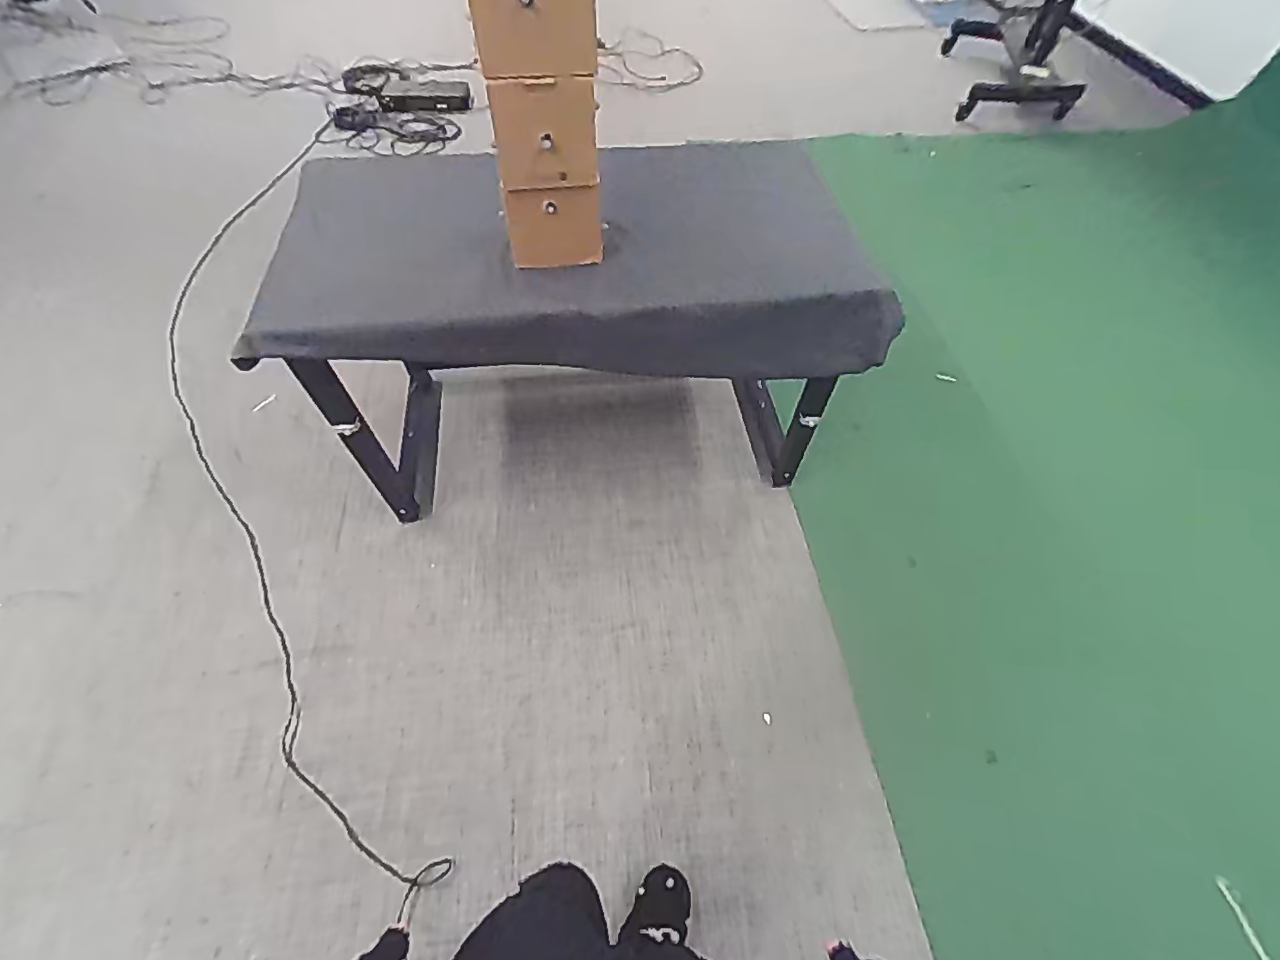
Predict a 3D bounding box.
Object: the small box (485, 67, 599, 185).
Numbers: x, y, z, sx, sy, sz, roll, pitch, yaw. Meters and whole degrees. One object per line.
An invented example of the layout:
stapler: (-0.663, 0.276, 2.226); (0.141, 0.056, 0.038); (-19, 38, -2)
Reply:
small box: (-0.160, -0.621, 0.915); (0.168, 0.176, 0.179); (-6, 58, -5)

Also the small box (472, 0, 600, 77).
small box: (-0.150, -0.708, 0.775); (0.179, 0.176, 0.168); (-7, 58, -7)

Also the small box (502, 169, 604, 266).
small box: (-0.165, -0.537, 1.055); (0.179, 0.176, 0.168); (-5, 58, -6)
